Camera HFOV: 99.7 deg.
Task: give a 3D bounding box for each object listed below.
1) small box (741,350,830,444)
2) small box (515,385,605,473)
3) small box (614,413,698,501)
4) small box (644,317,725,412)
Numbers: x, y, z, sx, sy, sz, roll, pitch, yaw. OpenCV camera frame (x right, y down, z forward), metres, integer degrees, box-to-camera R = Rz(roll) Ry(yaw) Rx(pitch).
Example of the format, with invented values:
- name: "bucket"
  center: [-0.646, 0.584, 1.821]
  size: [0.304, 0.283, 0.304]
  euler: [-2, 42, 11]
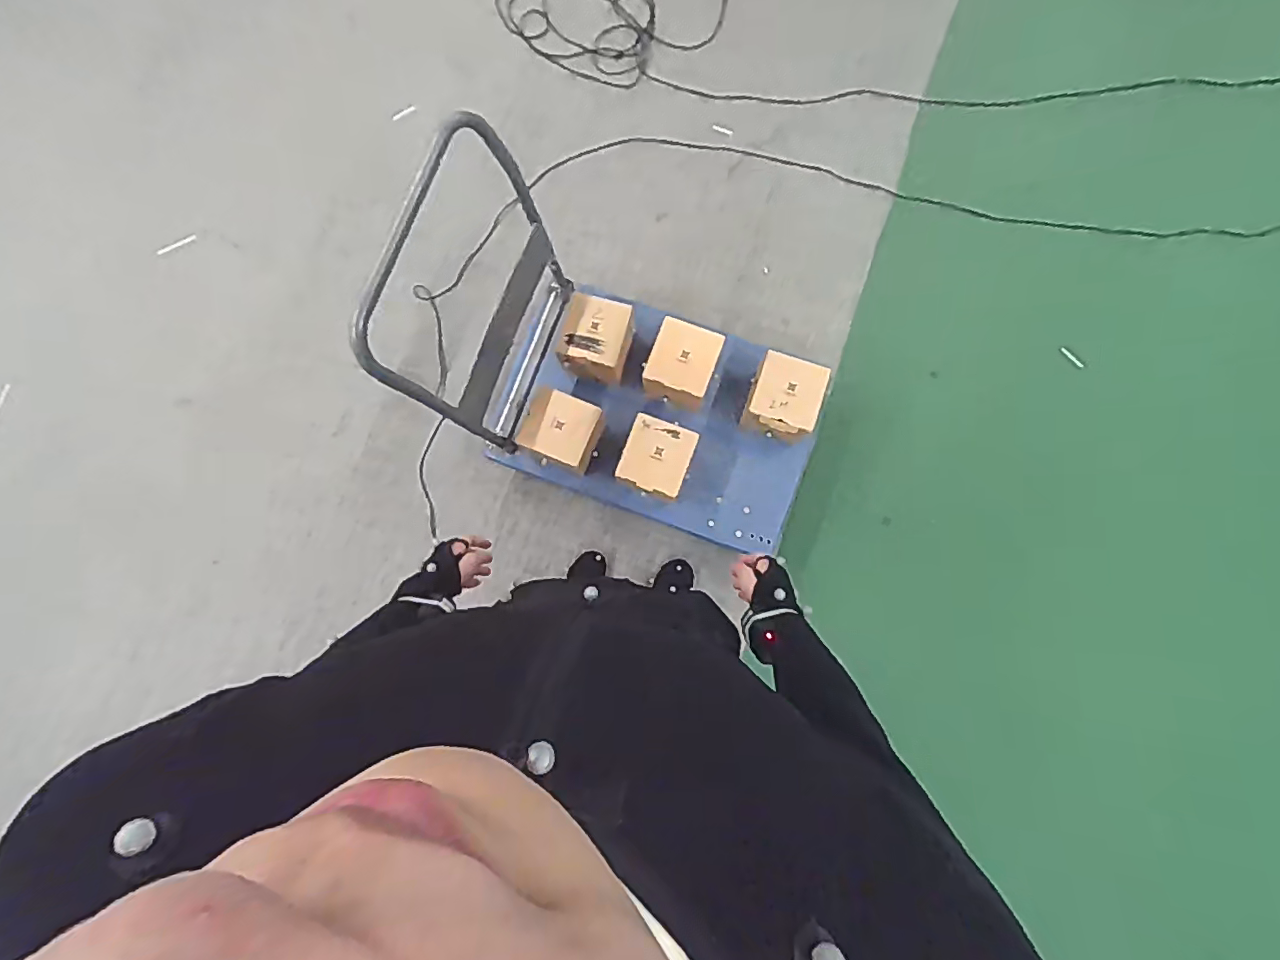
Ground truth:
- name: "small box"
  center: [0.379, -0.215, 1.442]
  size: [0.168, 0.176, 0.179]
  euler: [19, 84, 5]
- name: "small box"
  center: [-0.206, -0.128, 1.445]
  size: [0.179, 0.176, 0.168]
  euler: [23, 84, 3]
- name: "small box"
  center: [0.043, -0.053, 1.428]
  size: [0.168, 0.176, 0.179]
  euler: [21, 84, 3]
- name: "small box"
  center: [0.114, -0.306, 1.462]
  size: [0.168, 0.176, 0.179]
  euler: [20, 85, 3]
